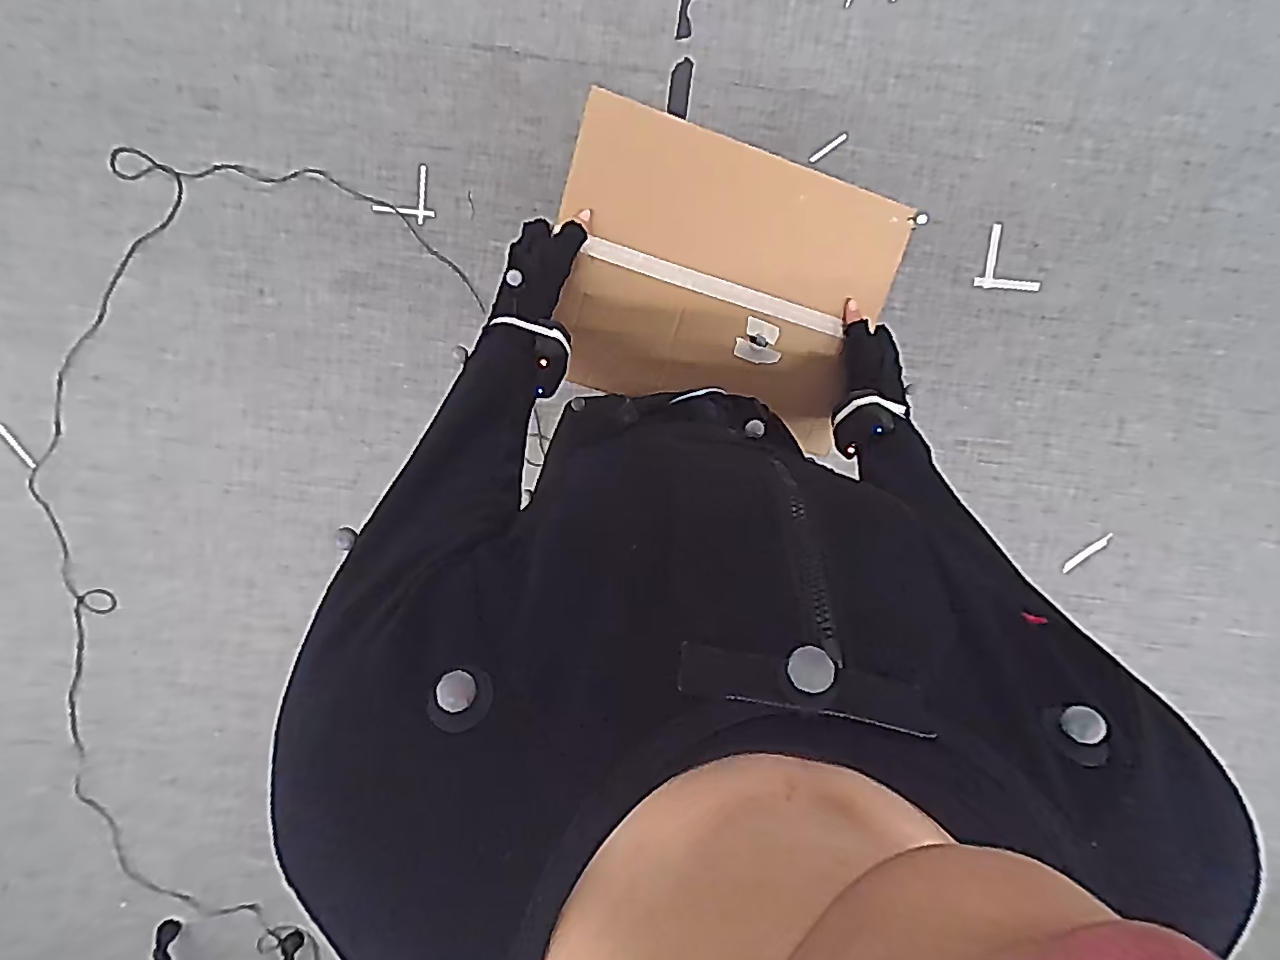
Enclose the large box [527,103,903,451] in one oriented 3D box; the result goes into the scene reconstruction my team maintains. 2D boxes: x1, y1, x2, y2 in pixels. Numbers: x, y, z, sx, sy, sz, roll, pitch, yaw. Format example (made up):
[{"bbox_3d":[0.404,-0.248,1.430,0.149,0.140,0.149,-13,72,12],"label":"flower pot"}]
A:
[{"bbox_3d":[0.075,-0.263,0.801,0.408,0.320,0.320,16,102,-9],"label":"large box"}]
